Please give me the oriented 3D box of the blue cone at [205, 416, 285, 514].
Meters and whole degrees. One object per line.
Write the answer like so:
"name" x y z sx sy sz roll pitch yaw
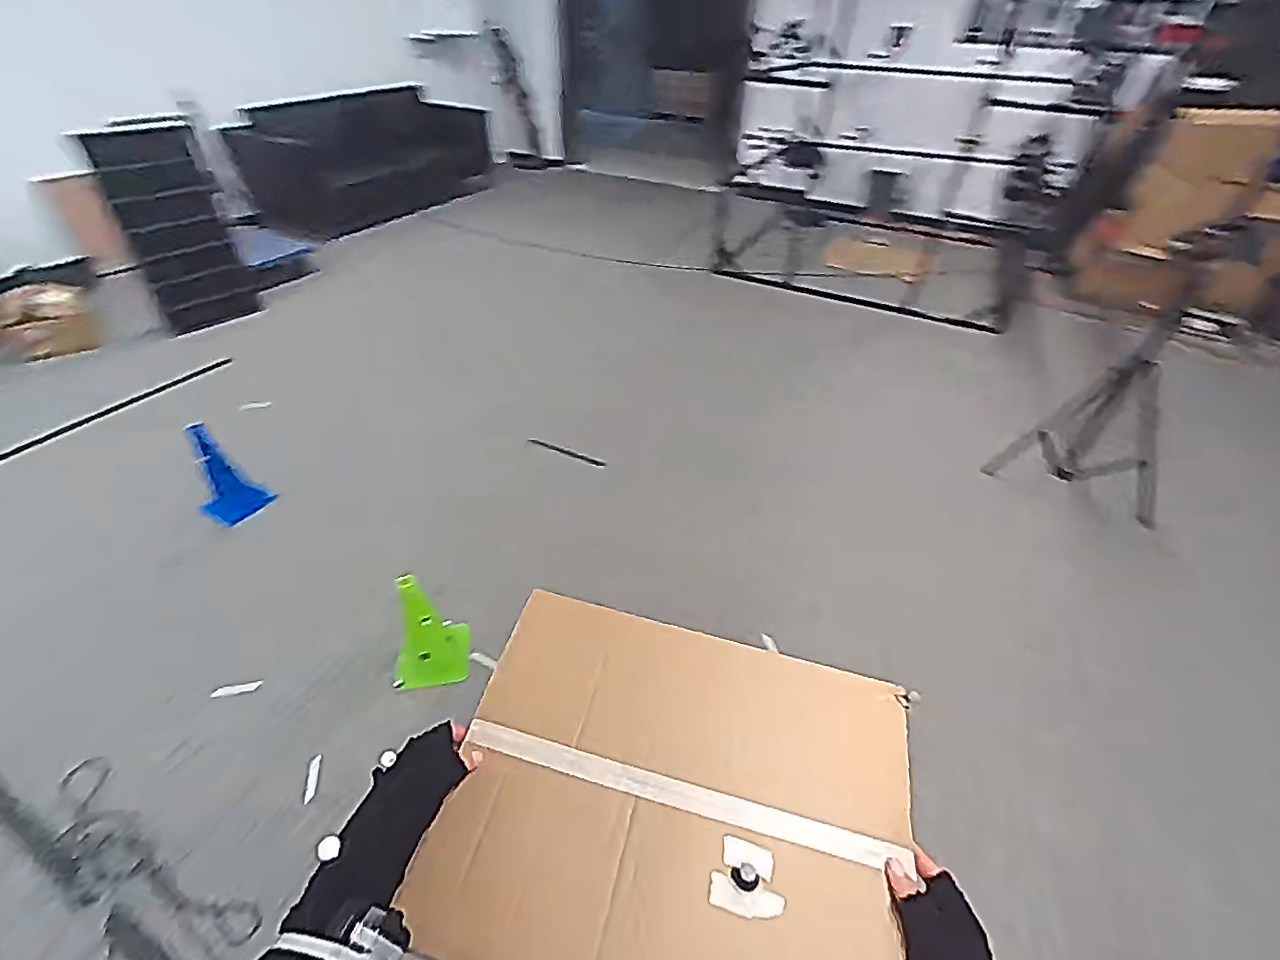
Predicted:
"blue cone" -1.528 -0.071 2.020 0.193 0.380 0.192 23 44 21

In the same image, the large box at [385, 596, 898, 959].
"large box" 0.018 0.377 0.603 0.408 0.320 0.320 13 50 7

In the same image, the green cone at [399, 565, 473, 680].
"green cone" -0.608 0.380 1.541 0.200 0.368 0.202 -4 40 -10
